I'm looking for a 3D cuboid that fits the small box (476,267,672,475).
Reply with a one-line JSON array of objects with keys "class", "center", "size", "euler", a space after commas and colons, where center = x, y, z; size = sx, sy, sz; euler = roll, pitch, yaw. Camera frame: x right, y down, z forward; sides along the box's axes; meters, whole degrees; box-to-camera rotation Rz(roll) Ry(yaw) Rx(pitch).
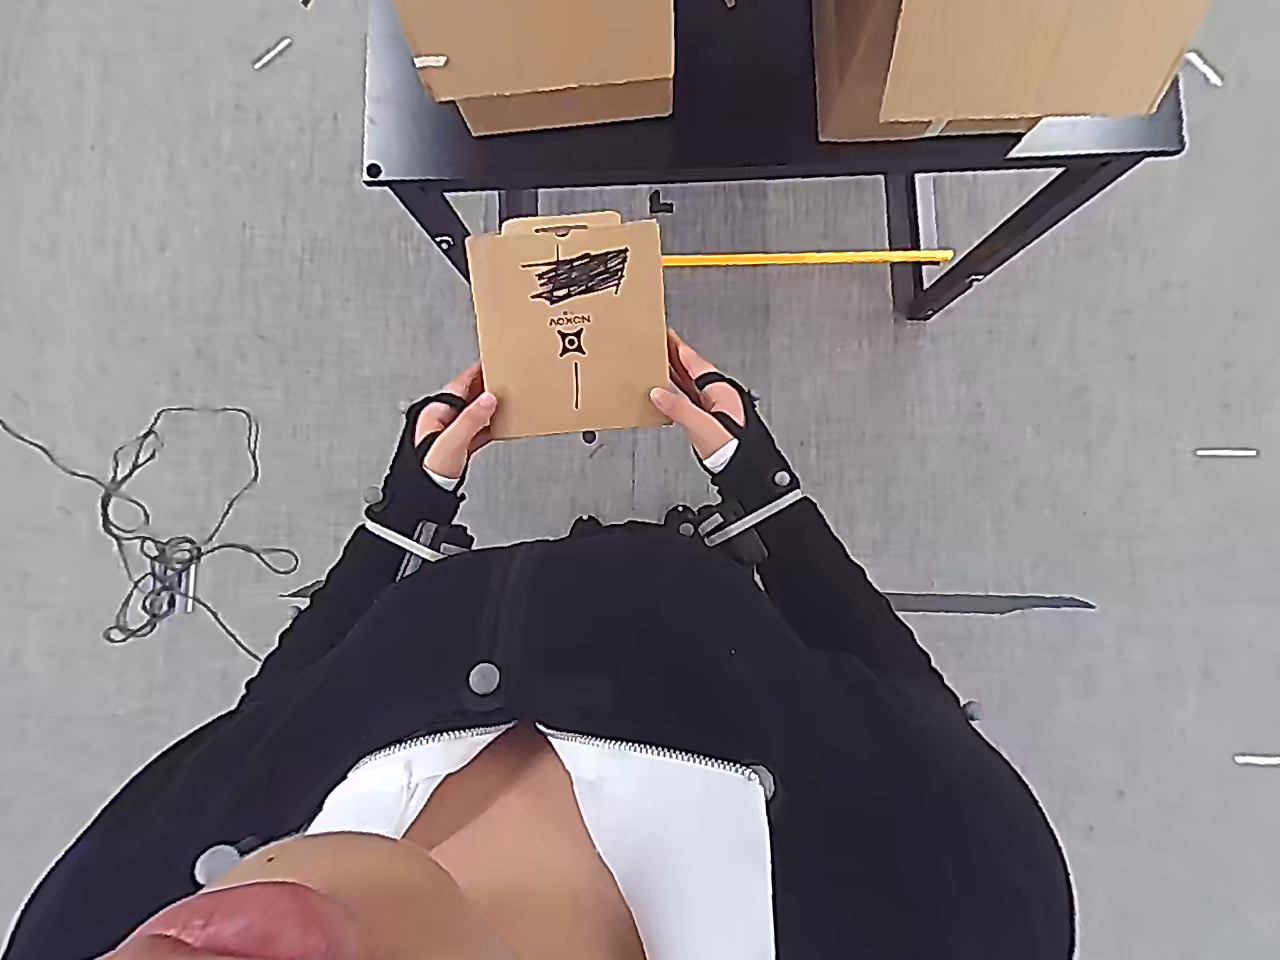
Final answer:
[{"class": "small box", "center": [-0.059, -0.106, 0.563], "size": [0.168, 0.176, 0.179], "euler": [-5, 98, 1]}]
